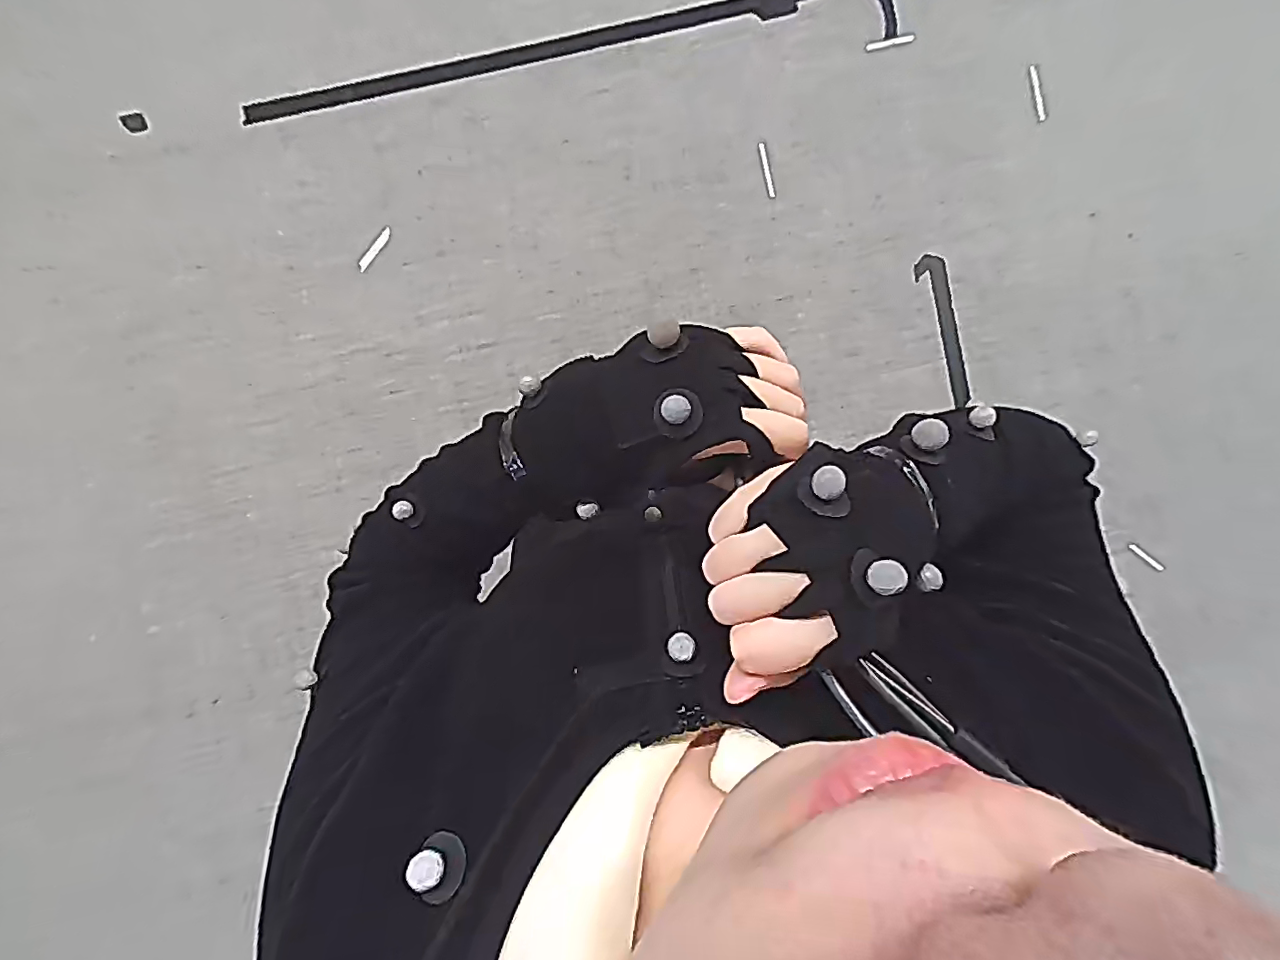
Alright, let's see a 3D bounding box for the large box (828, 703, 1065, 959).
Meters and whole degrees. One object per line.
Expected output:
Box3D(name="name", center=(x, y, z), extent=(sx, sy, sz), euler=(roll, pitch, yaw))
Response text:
Box3D(name="large box", center=(0.658, 0.776, 1.217), extent=(0.320, 0.320, 0.408), euler=(10, 92, -2))
